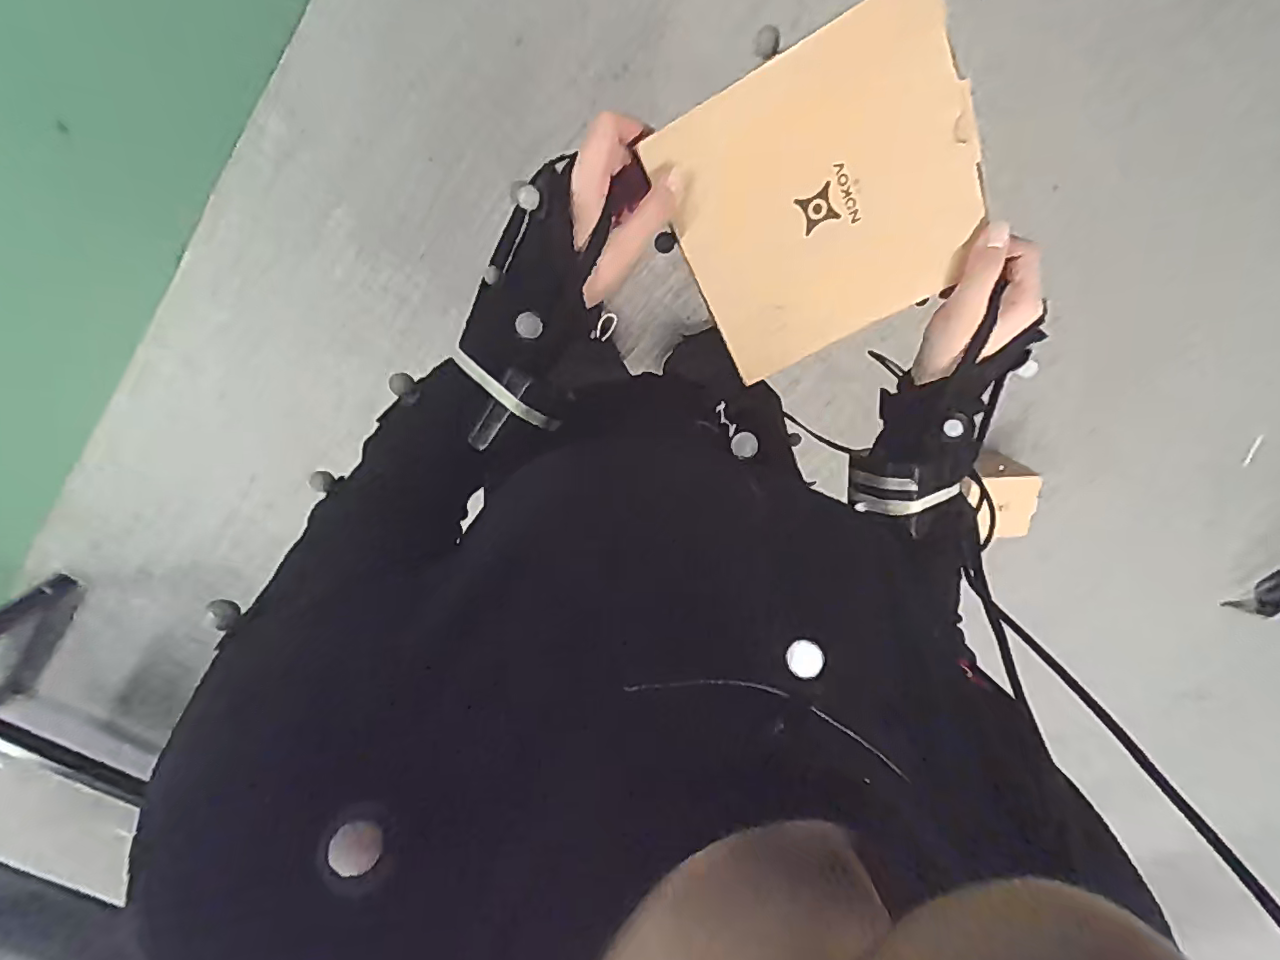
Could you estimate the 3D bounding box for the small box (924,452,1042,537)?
[{"bbox_3d":[0.864,0.032,1.380,0.179,0.176,0.168,-1,113,-1],"label":"small box"}]
